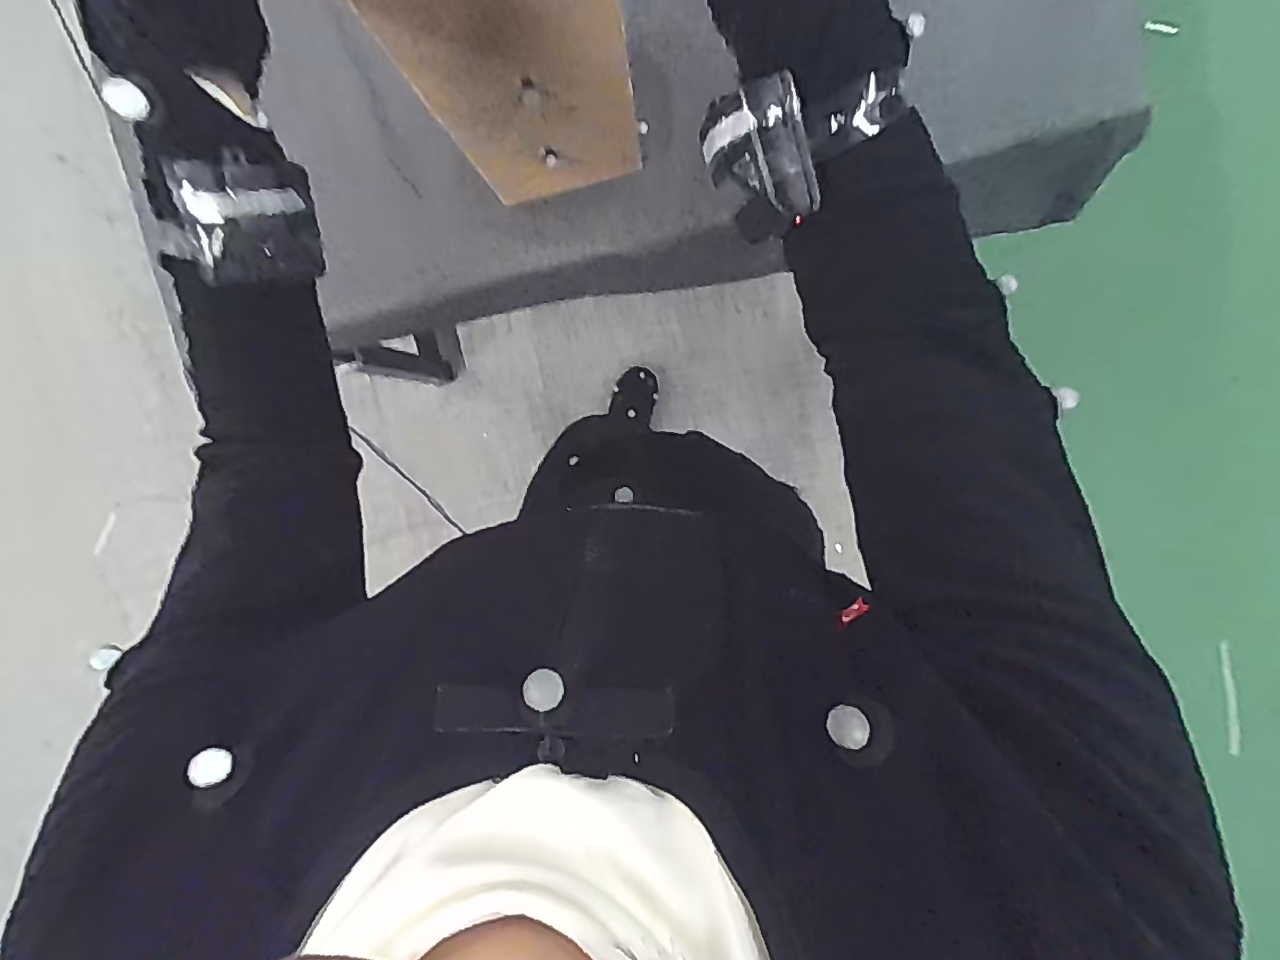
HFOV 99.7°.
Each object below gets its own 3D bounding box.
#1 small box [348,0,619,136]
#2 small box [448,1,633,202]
[{"bbox_3d":[-0.116,-0.408,0.418,0.179,0.176,0.168,-11,94,5],"label":"small box"},{"bbox_3d":[-0.105,-0.427,0.577,0.179,0.176,0.168,-9,93,5],"label":"small box"}]
